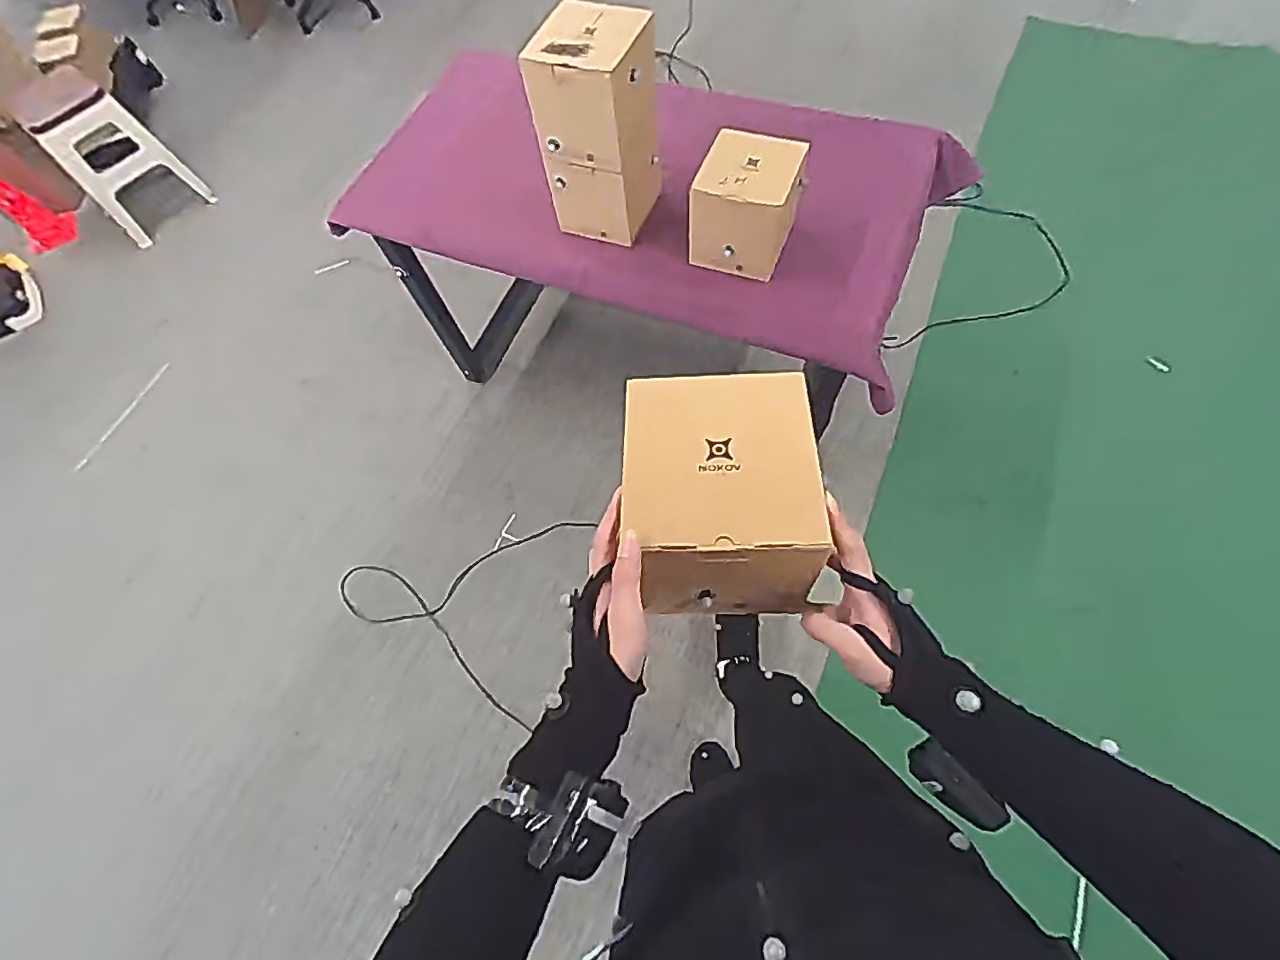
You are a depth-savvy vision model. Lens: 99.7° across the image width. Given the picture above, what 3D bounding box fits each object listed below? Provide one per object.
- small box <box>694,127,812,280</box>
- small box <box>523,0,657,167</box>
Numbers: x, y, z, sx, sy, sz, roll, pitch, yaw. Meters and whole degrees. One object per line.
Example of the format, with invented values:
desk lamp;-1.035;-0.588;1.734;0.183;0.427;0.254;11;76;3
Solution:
small box;0.204;-0.516;1.019;0.168;0.176;0.179;20;69;13
small box;-0.073;-0.680;0.935;0.168;0.176;0.179;20;68;13
